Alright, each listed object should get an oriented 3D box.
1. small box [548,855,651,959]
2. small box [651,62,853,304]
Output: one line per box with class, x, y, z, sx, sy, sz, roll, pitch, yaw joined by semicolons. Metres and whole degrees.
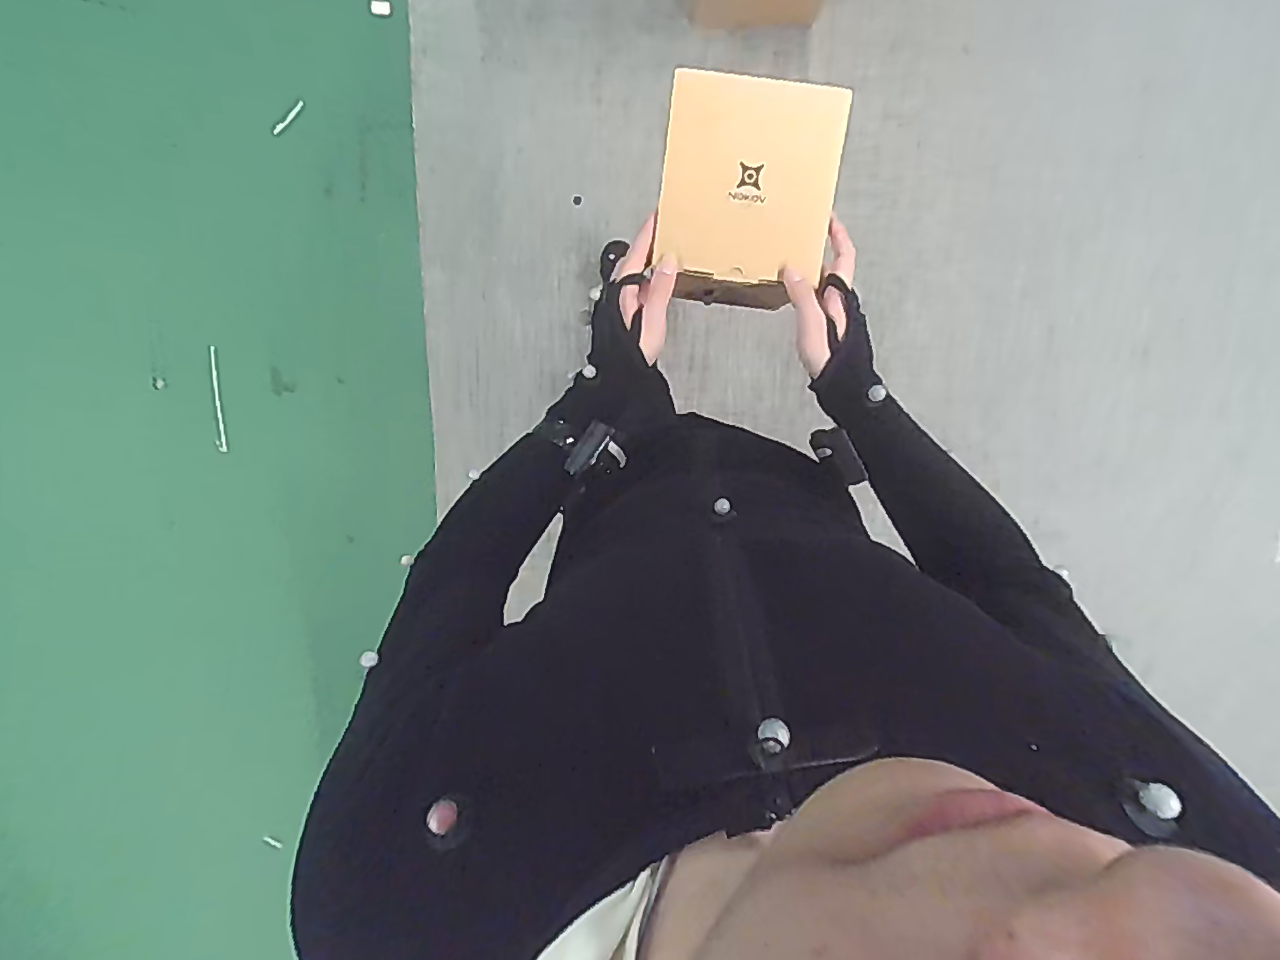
small box;-0.066;0.813;0.958;0.168;0.176;0.179;2;103;1
small box;0.104;-0.299;0.584;0.168;0.176;0.179;7;101;-1
